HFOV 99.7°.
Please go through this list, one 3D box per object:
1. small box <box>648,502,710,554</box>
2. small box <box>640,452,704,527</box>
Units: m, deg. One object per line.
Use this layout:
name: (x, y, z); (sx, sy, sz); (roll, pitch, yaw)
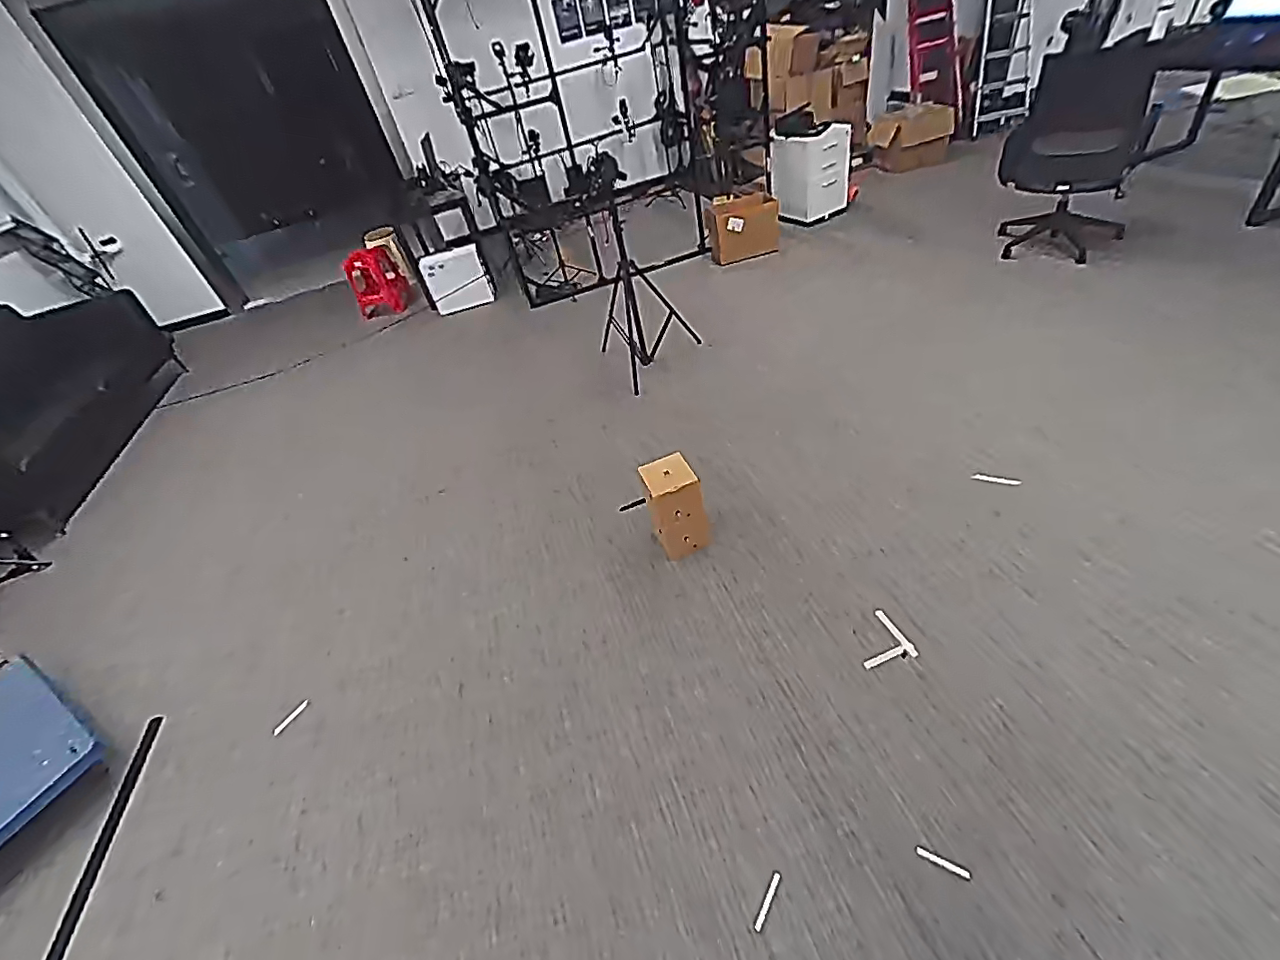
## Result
small box: (0.147, 0.155, 2.017); (0.168, 0.176, 0.179); (-22, 40, -9)
small box: (0.114, 0.035, 1.913); (0.168, 0.176, 0.179); (-22, 41, -7)
